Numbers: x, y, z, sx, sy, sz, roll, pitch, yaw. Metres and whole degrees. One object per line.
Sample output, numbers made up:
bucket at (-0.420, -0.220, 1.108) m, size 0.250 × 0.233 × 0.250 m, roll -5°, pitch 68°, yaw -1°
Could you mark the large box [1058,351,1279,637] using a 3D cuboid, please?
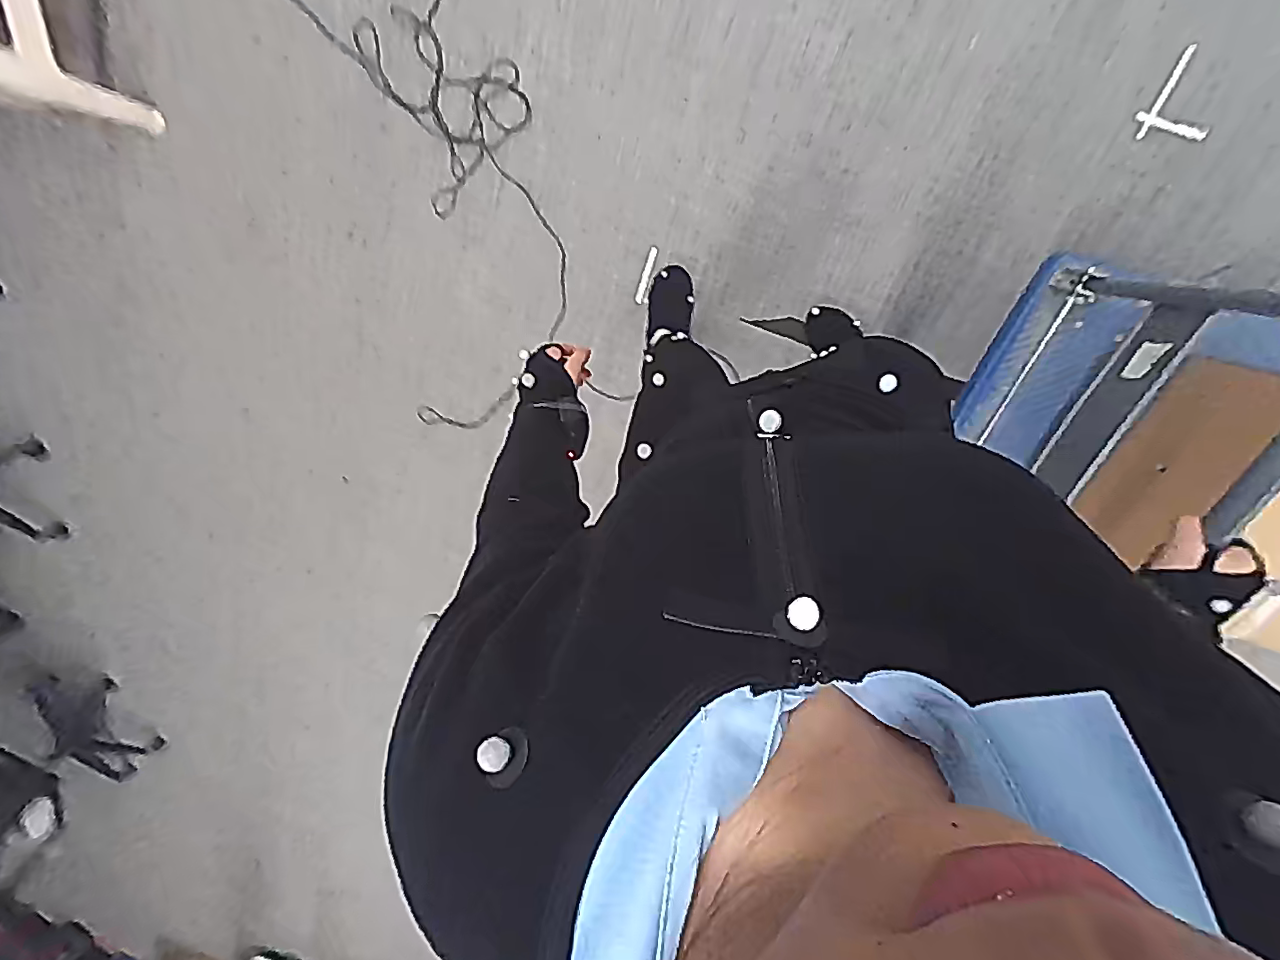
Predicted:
large box at (1.111, 0.017, 1.007) m, size 0.320 × 0.320 × 0.408 m, roll 21°, pitch 114°, yaw 3°
